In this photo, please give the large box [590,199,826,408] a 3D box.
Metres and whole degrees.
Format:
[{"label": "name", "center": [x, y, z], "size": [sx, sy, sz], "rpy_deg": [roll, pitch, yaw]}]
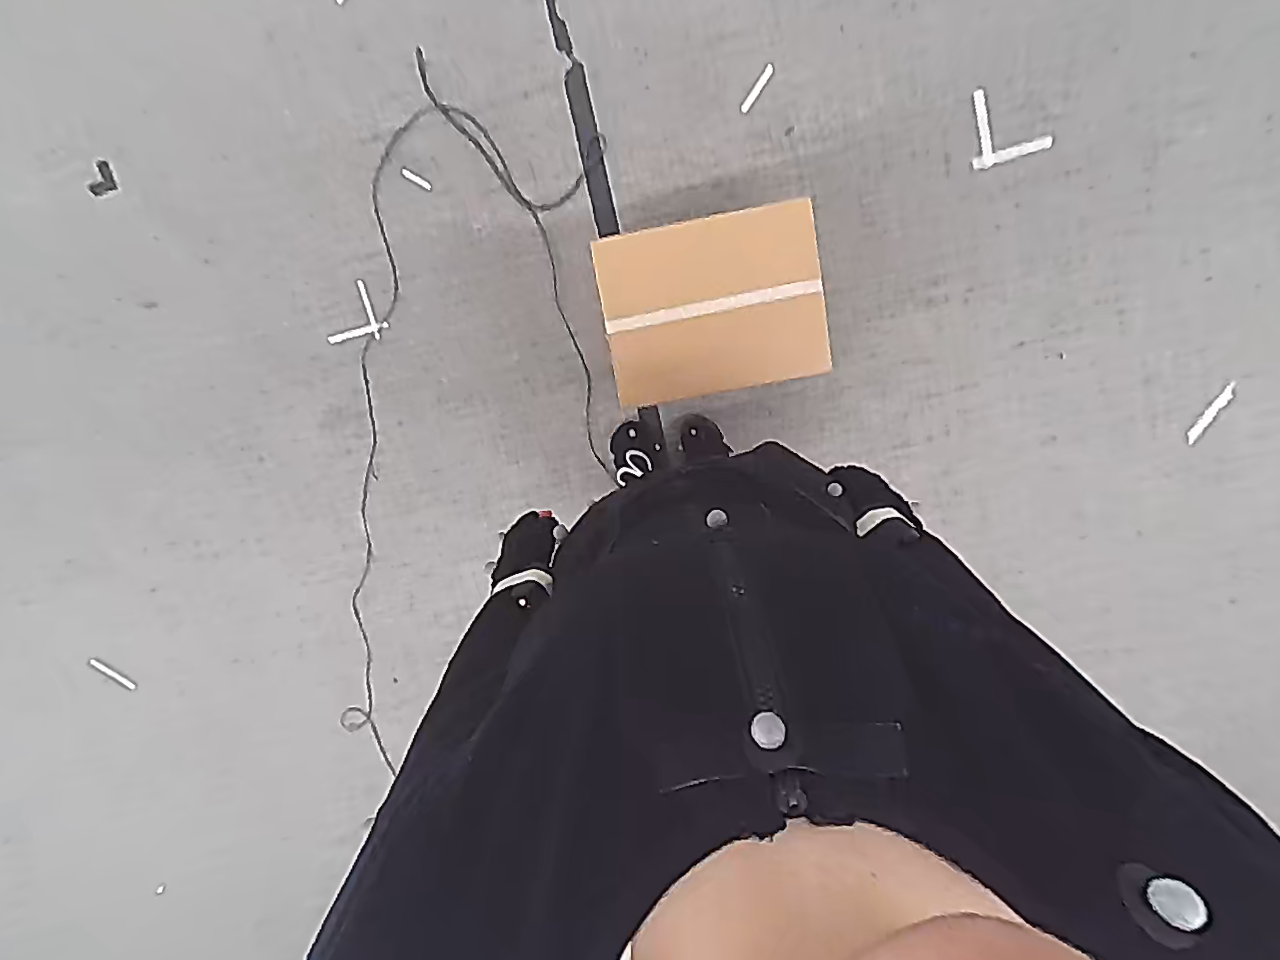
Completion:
[{"label": "large box", "center": [0.132, -0.348, 1.153], "size": [0.408, 0.320, 0.320], "rpy_deg": [-10, 101, 3]}]
